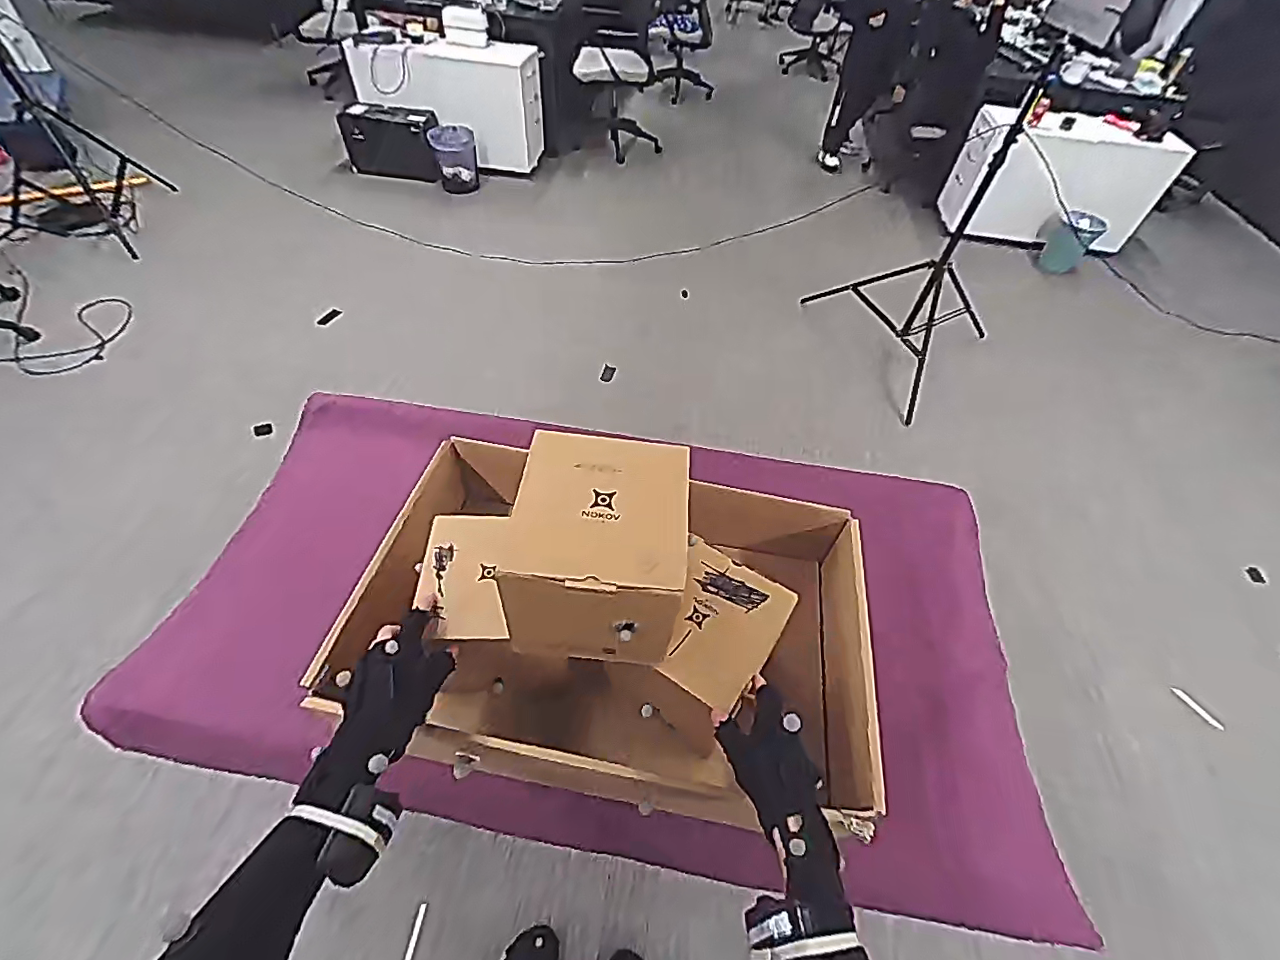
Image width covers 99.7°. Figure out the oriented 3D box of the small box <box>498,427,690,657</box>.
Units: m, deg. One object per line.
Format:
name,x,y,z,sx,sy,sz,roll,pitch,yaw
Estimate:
small box,-0.041,0.070,0.571,0.168,0.176,0.179,6,49,-2
